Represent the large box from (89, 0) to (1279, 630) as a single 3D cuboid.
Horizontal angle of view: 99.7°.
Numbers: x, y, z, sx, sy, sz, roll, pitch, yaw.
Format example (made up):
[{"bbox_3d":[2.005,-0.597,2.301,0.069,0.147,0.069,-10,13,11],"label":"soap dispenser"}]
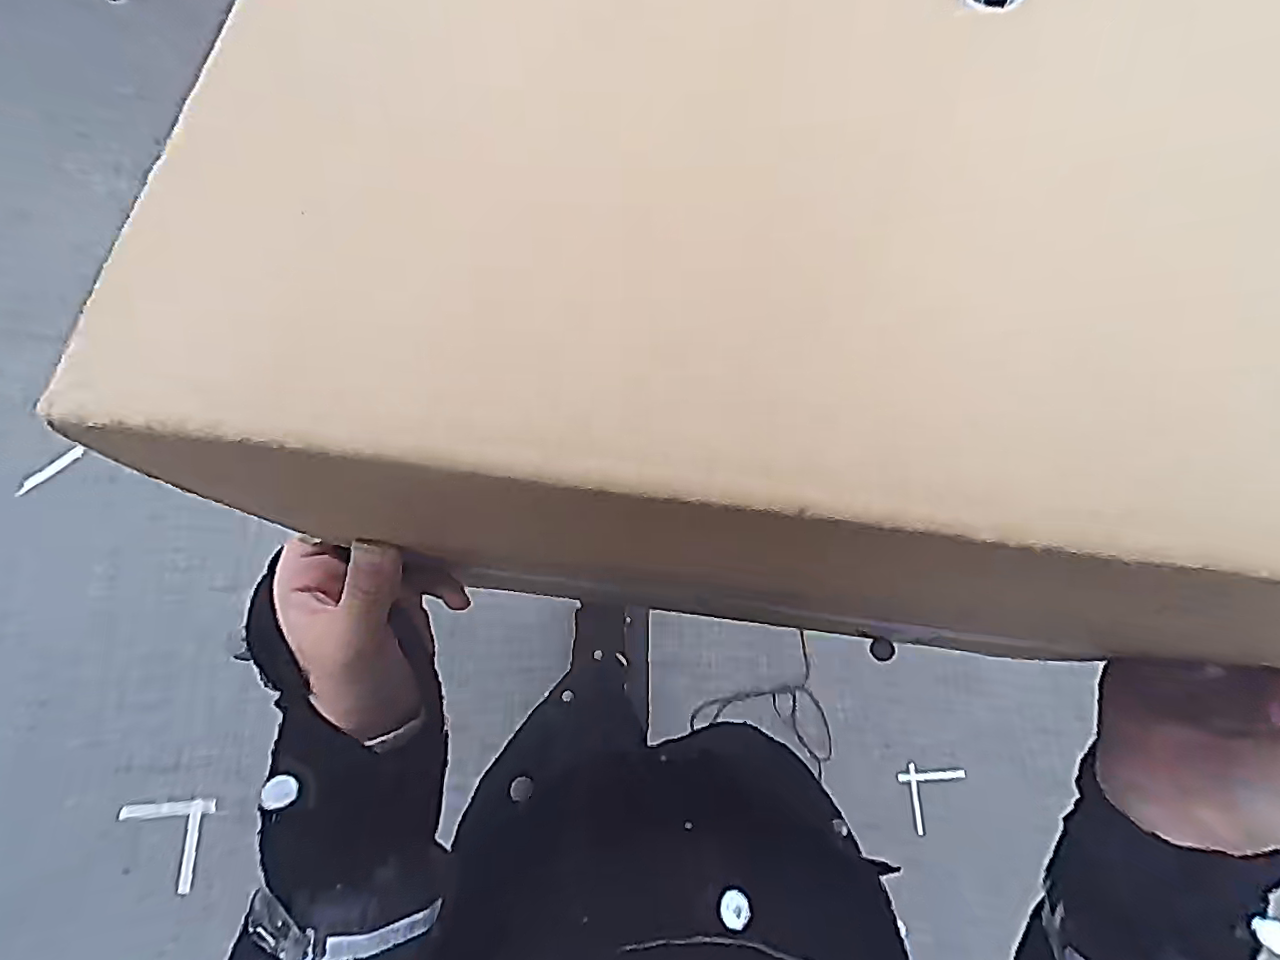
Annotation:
[{"bbox_3d":[0.084,-0.103,0.299,0.408,0.320,0.320,7,75,0],"label":"large box"}]
